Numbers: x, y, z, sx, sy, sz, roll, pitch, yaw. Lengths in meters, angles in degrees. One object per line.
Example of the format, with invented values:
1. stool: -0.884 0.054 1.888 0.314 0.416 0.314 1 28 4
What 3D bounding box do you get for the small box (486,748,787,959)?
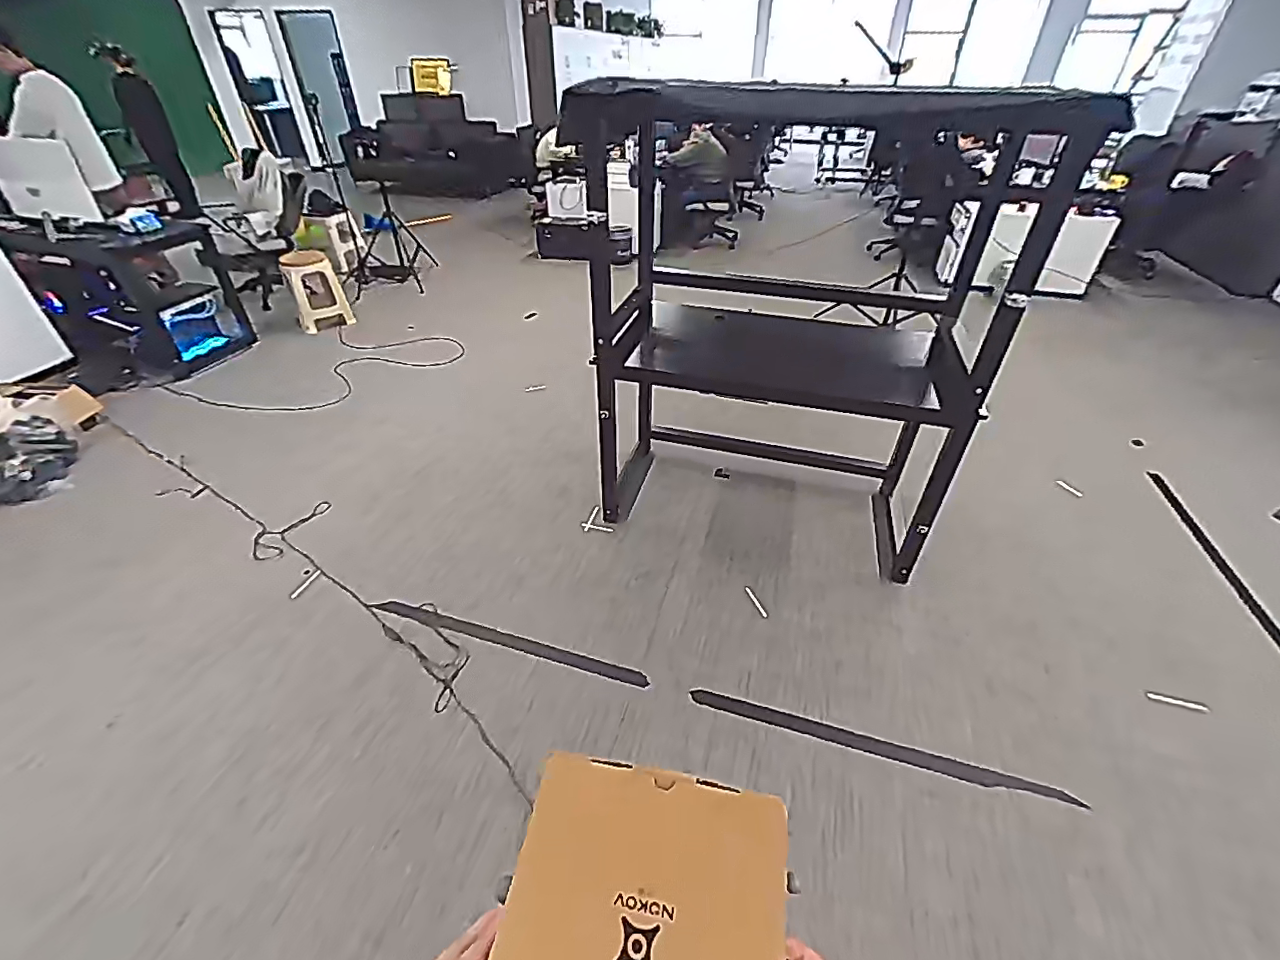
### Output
1. small box: 0.002 0.316 0.366 0.168 0.176 0.179 7 45 10
